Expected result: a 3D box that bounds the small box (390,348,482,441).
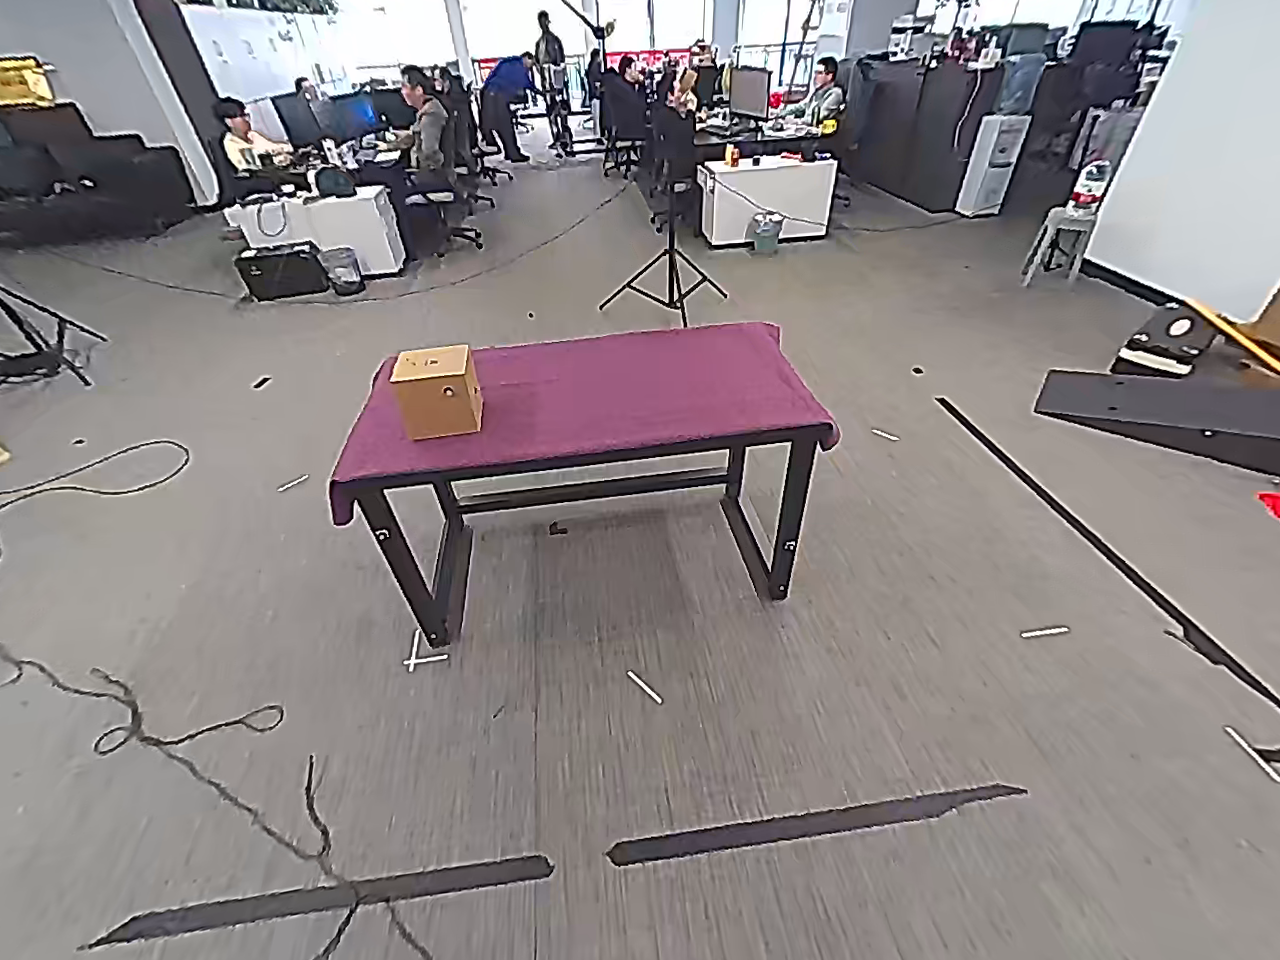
[{"bbox_3d":[-0.506,-0.217,1.375,0.179,0.176,0.168,-9,38,-7],"label":"small box"}]
